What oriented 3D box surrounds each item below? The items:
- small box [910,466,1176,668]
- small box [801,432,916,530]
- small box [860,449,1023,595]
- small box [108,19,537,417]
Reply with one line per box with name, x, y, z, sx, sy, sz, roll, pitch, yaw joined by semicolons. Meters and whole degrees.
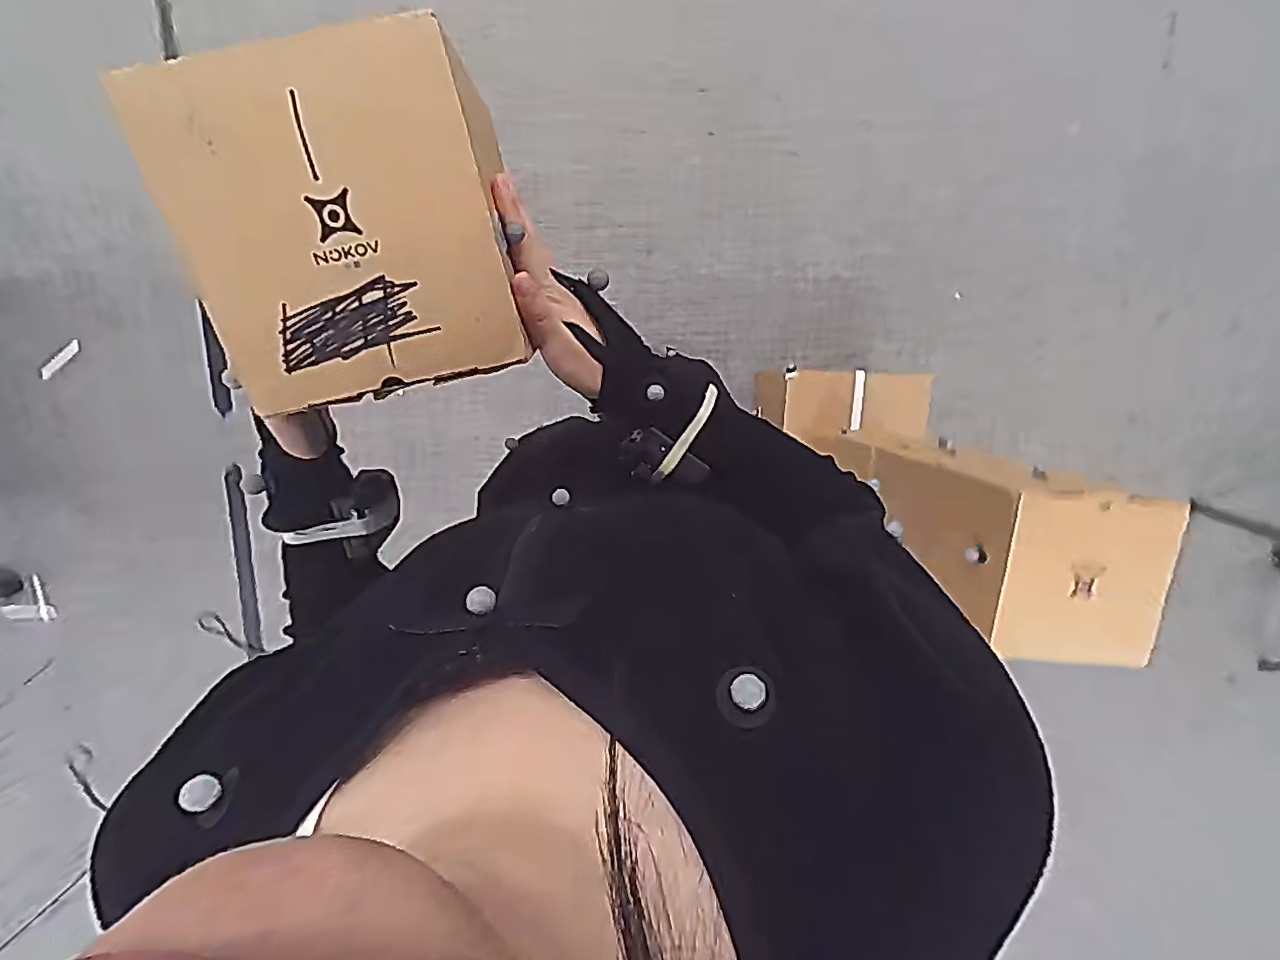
small box;0.437;0.088;0.622;0.168;0.176;0.179;4;101;0
small box;0.436;-0.003;1.104;0.168;0.176;0.179;0;102;1
small box;0.437;0.058;0.781;0.168;0.176;0.179;4;101;-1
small box;-0.175;-0.159;0.372;0.168;0.176;0.179;-14;108;-2
